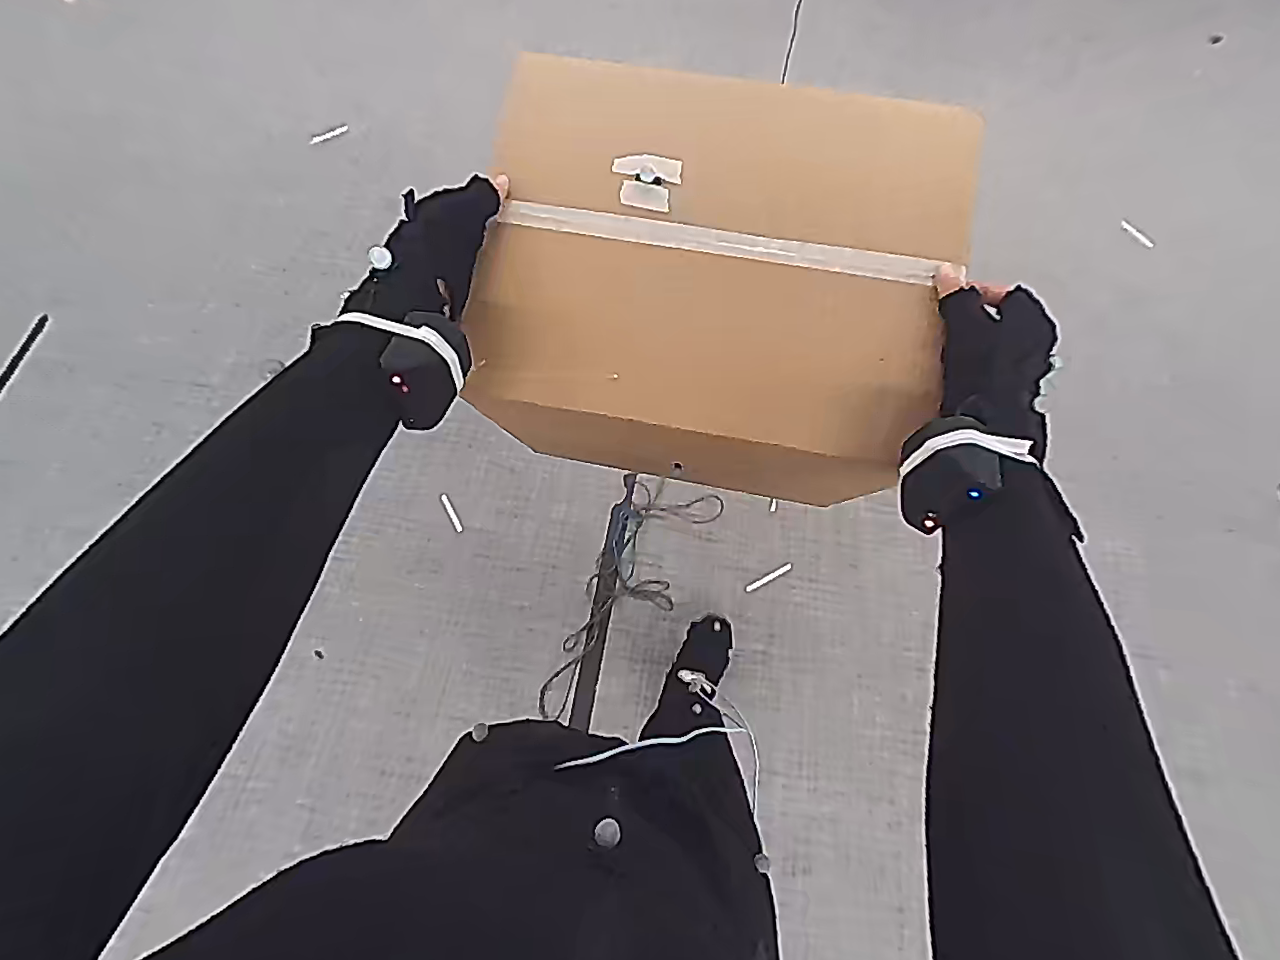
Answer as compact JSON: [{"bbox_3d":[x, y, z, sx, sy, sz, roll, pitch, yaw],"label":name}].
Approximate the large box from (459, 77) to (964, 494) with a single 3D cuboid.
[{"bbox_3d":[0.074,-0.177,0.617,0.408,0.320,0.320,11,82,6],"label":"large box"}]
